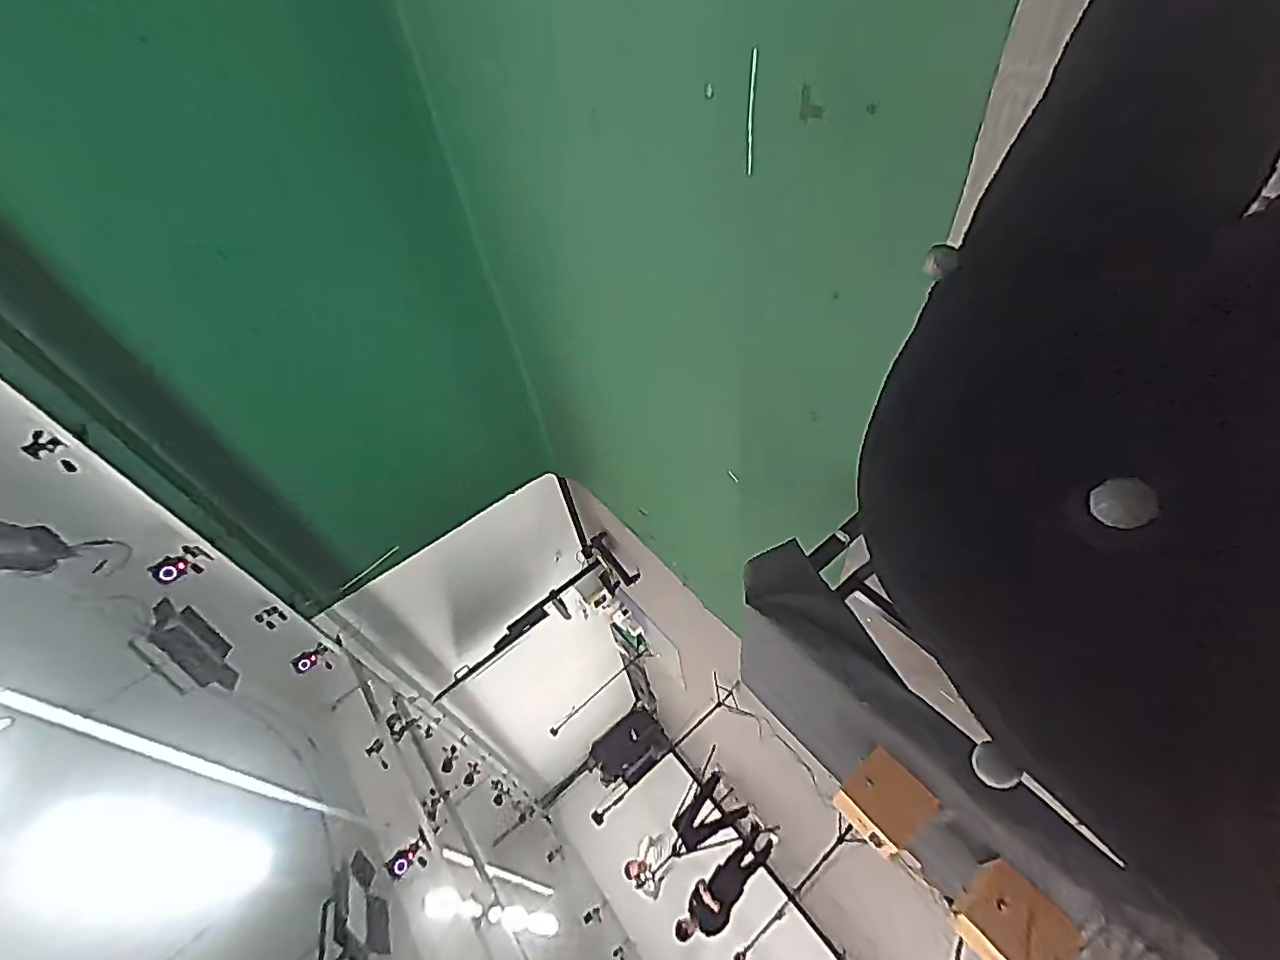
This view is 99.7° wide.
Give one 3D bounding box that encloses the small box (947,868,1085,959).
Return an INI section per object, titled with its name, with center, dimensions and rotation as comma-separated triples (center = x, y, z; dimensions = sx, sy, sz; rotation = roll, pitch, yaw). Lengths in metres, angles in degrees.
[small box]
center = 0.845, 1.019, 1.224
dimensions = 0.179, 0.176, 0.168
rotation = 39, 155, 36
